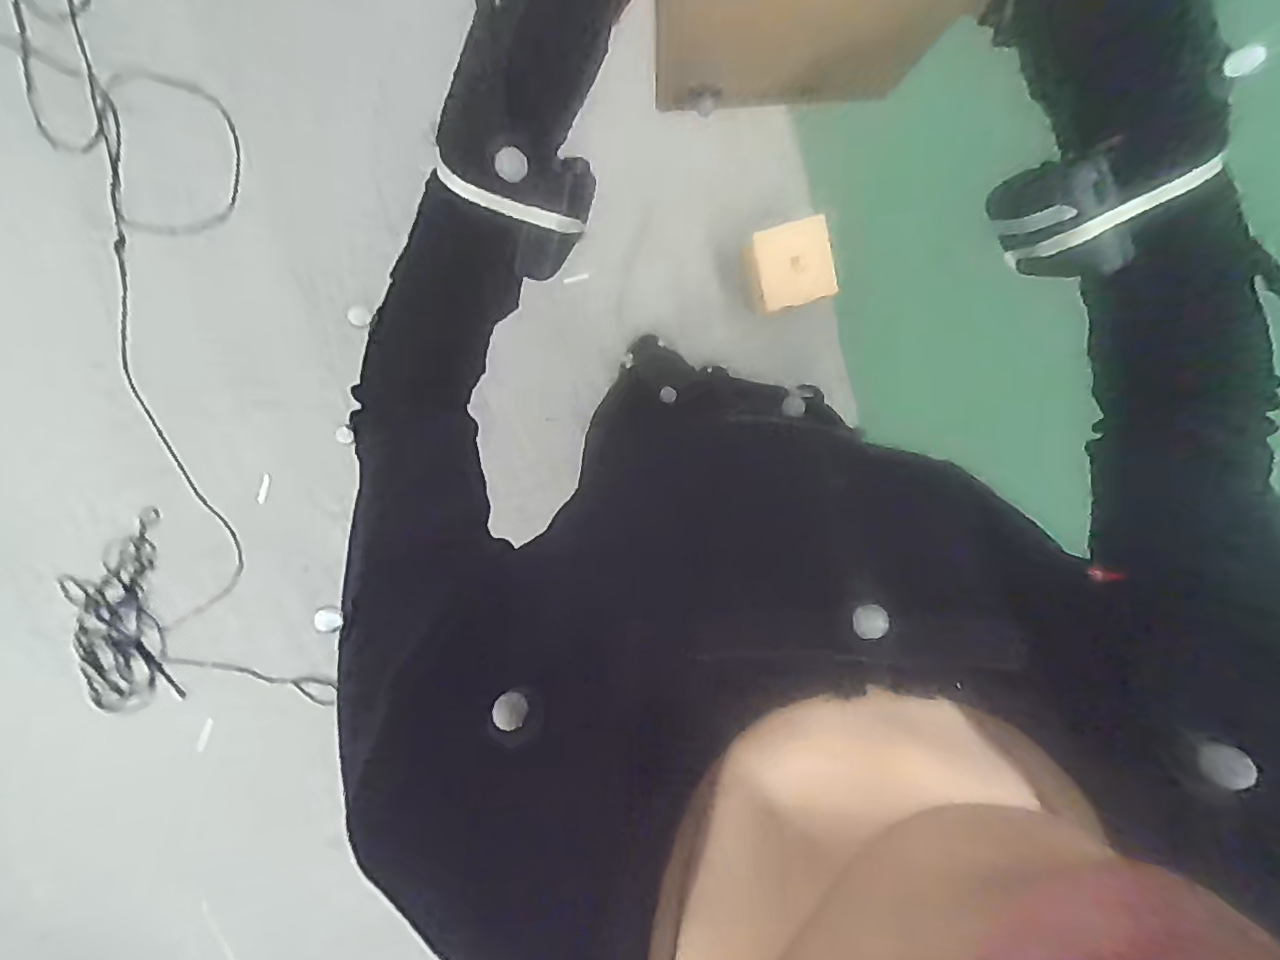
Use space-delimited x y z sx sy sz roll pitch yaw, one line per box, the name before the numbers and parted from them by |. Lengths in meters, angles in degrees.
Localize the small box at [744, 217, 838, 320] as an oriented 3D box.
small box | 0.354 -0.497 1.294 0.168 0.176 0.179 -14 100 7
